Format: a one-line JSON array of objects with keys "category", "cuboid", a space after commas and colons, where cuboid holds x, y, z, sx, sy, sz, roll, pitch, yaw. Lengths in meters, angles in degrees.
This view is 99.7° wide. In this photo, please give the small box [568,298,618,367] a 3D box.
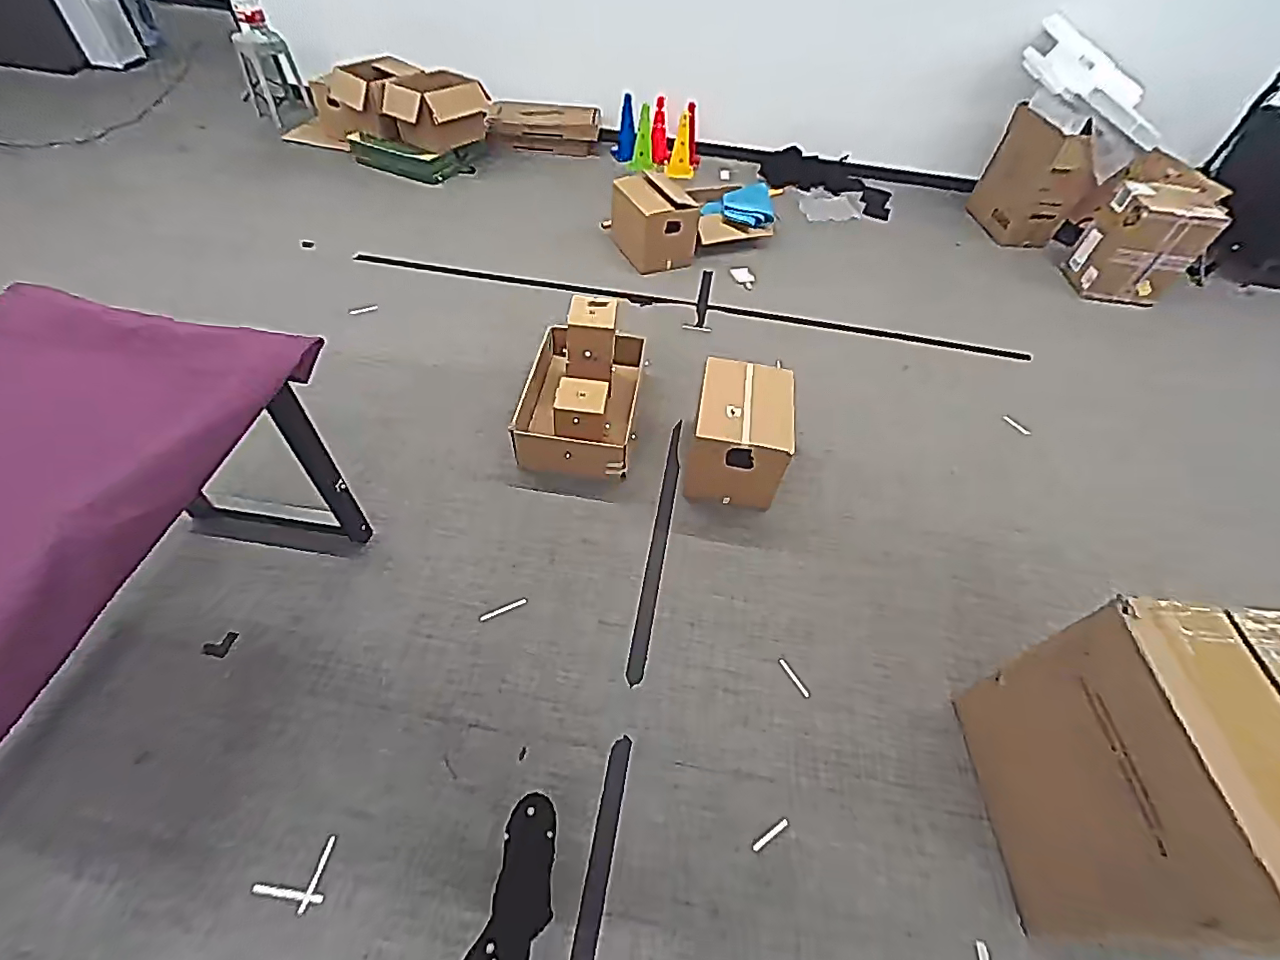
[{"category": "small box", "cuboid": [-0.172, -0.540, 1.986, 0.168, 0.176, 0.179, 5, 52, -2]}]

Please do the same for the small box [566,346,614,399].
[{"category": "small box", "cuboid": [-0.194, -0.430, 2.108, 0.179, 0.176, 0.168, 2, 52, -5]}]

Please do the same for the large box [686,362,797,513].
[{"category": "large box", "cuboid": [0.350, -0.151, 1.908, 0.320, 0.320, 0.408, 9, 52, 3]}]
